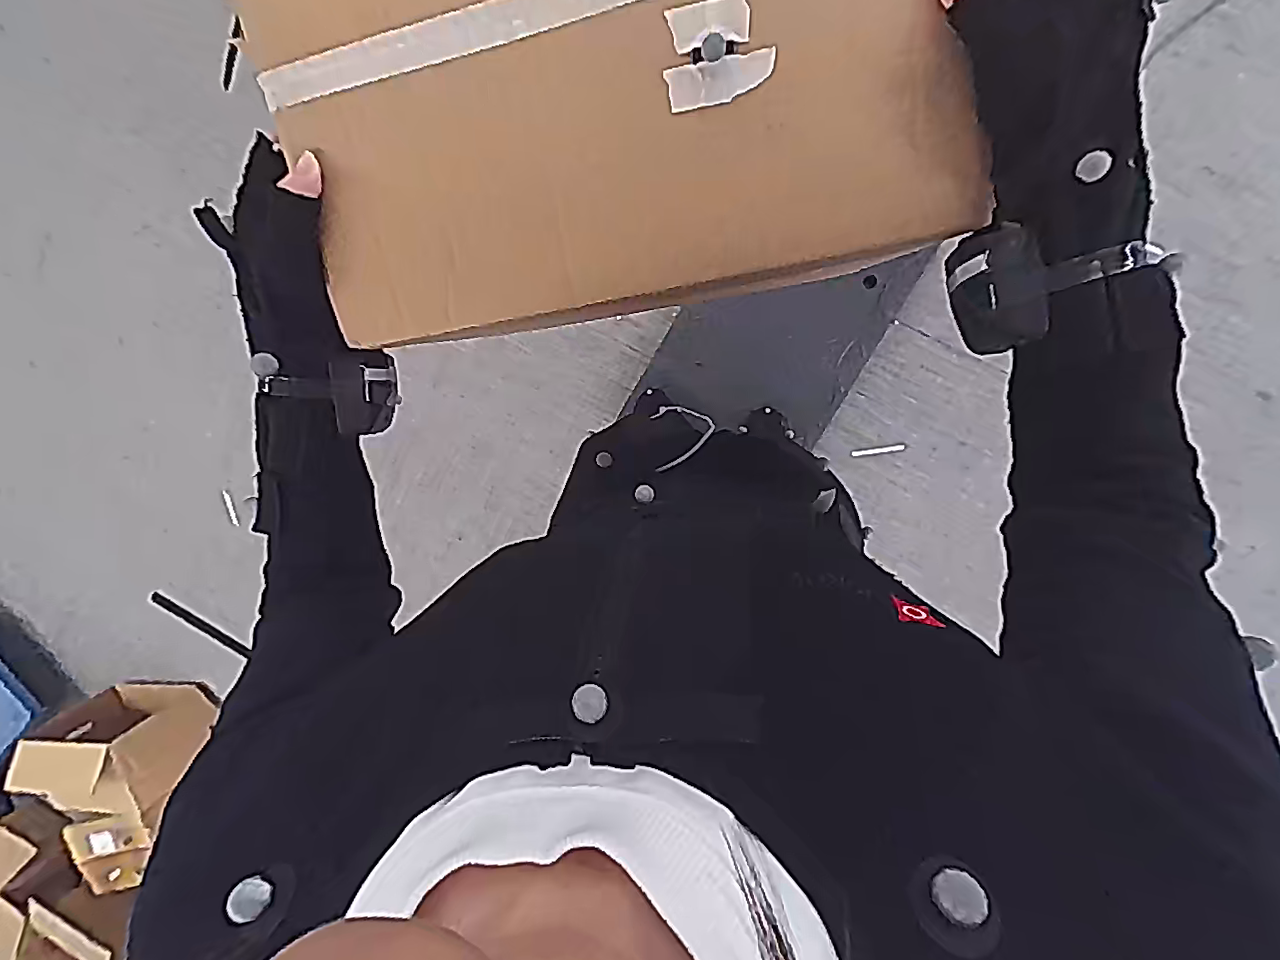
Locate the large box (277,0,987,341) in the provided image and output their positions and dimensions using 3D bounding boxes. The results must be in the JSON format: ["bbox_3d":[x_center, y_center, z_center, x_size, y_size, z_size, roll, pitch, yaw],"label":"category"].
[{"bbox_3d":[-0.002,-0.312,0.449,0.408,0.320,0.320,-8,106,11],"label":"large box"}]
